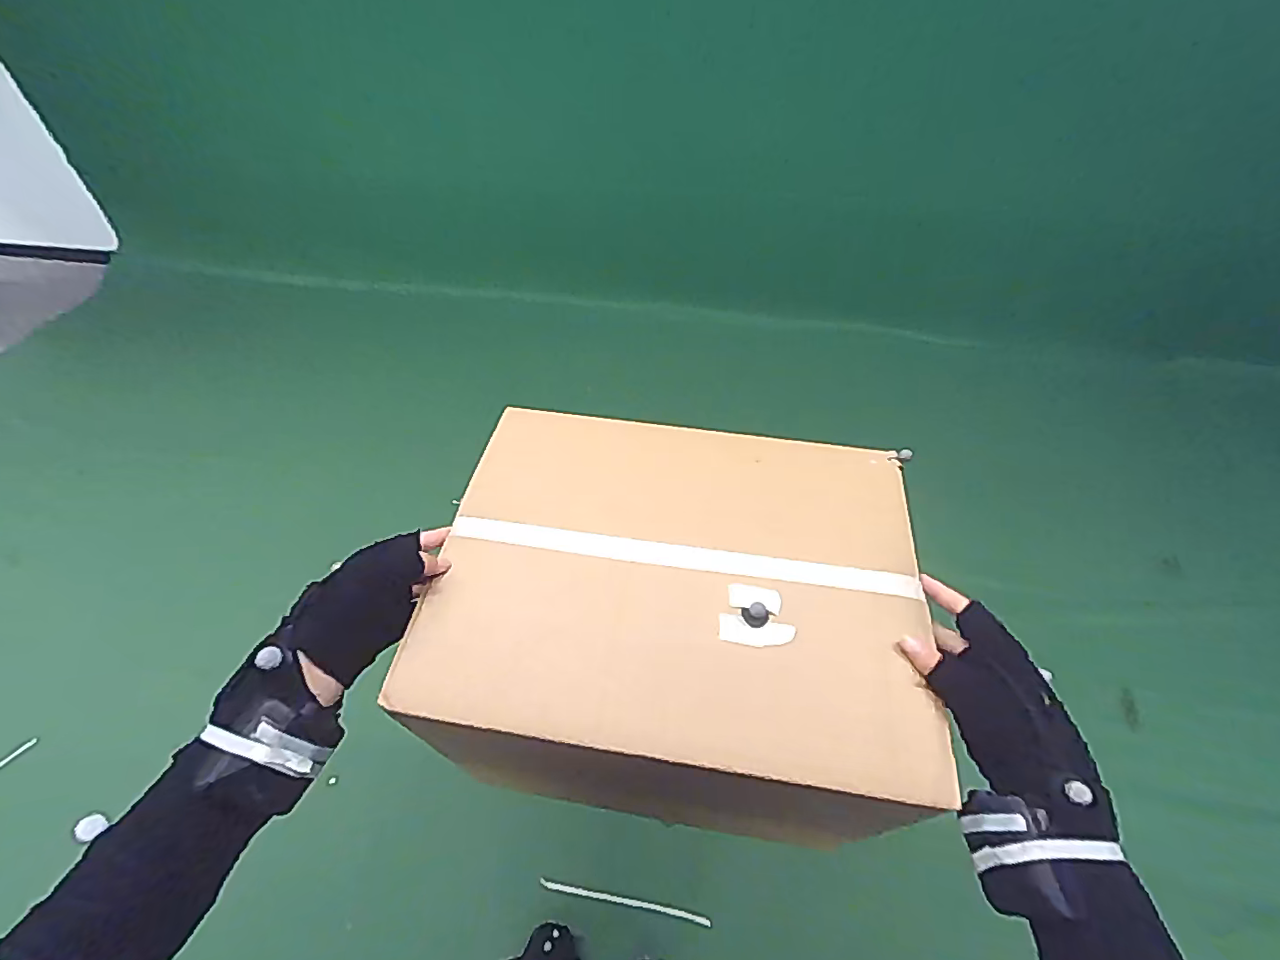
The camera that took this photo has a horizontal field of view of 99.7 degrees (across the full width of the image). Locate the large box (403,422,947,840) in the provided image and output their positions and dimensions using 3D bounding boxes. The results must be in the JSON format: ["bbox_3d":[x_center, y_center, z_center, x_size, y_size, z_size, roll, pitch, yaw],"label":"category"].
[{"bbox_3d":[0.036,0.167,0.594,0.408,0.320,0.320,7,52,6],"label":"large box"}]
